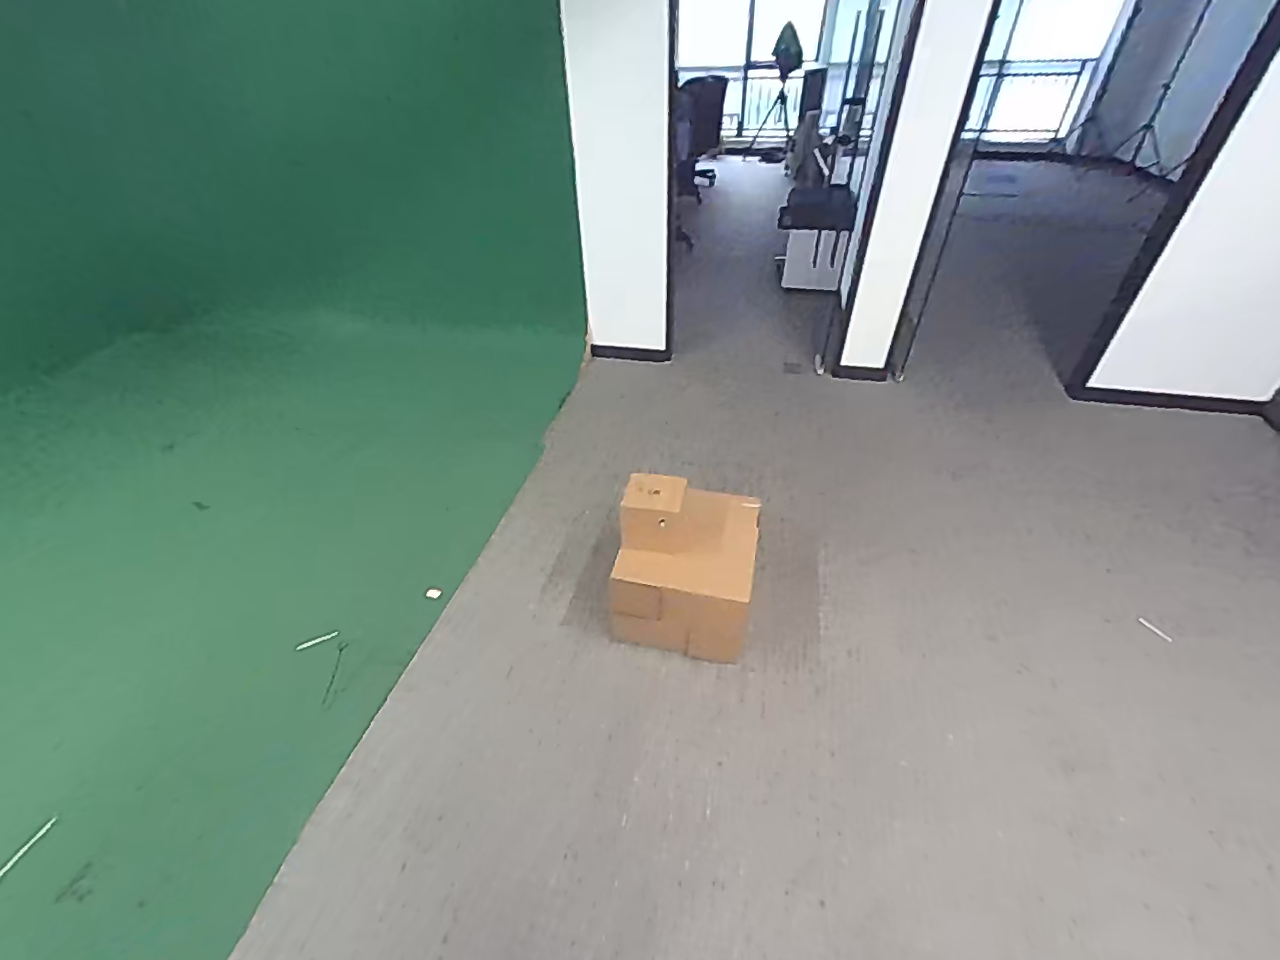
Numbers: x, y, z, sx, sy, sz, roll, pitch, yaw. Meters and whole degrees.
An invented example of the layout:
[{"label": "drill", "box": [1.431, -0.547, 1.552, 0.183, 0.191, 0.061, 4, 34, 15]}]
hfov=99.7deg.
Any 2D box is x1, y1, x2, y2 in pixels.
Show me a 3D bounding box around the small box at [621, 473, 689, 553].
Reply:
[{"label": "small box", "box": [0.048, 0.102, 1.640, 0.179, 0.176, 0.168, 6, 38, 11]}]
